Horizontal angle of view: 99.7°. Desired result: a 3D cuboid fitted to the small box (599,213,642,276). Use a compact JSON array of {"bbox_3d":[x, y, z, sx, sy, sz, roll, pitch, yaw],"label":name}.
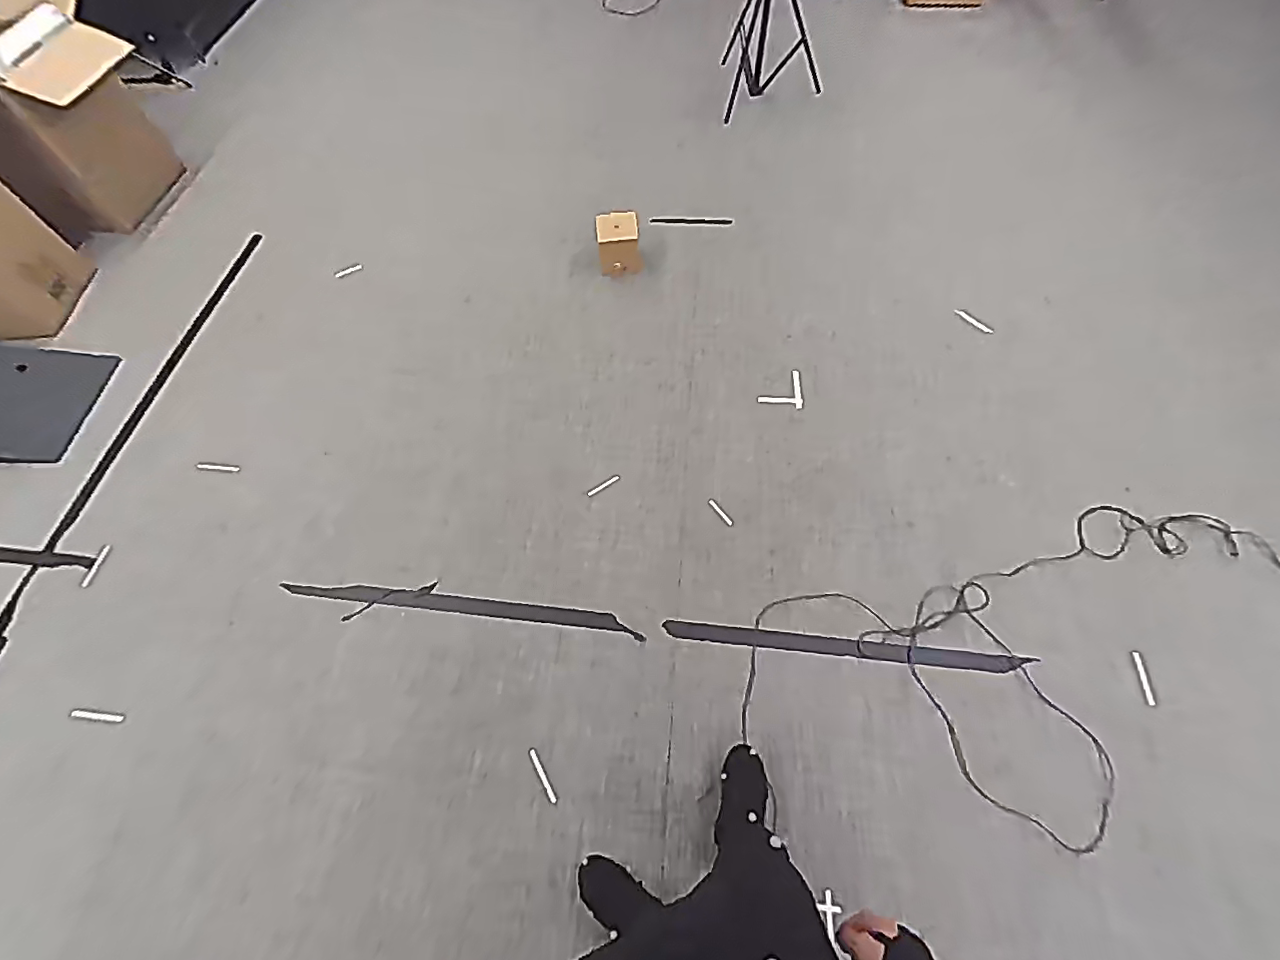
[{"bbox_3d":[-0.082,-0.986,2.270,0.168,0.176,0.179,-6,61,0],"label":"small box"}]
